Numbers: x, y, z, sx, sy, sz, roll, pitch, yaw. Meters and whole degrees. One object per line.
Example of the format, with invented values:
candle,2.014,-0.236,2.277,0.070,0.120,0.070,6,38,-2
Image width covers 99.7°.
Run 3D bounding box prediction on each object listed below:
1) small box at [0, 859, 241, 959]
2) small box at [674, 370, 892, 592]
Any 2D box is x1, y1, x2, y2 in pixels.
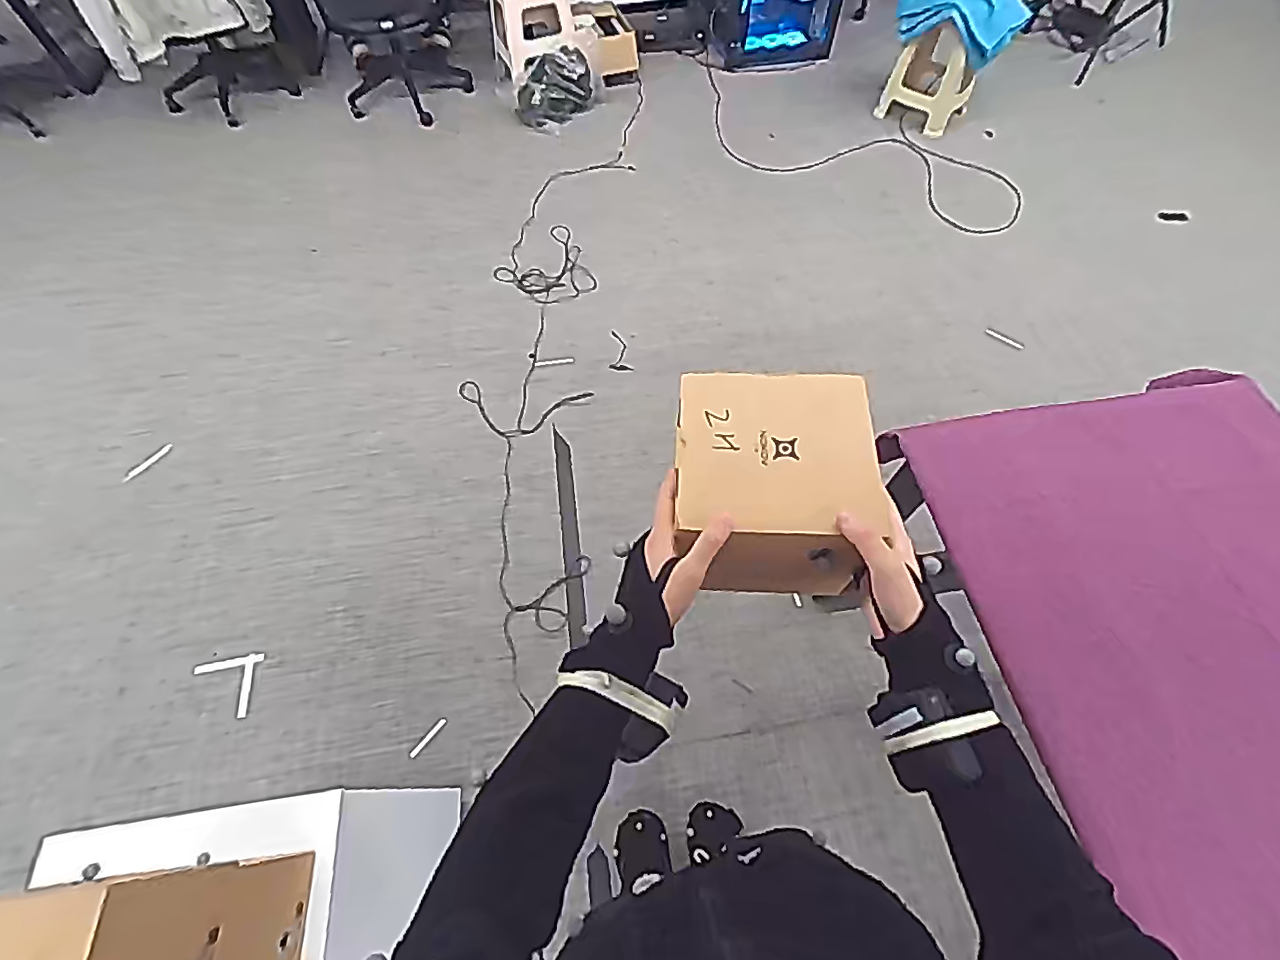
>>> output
small box,-0.502,0.444,0.467,0.179,0.176,0.168,-5,61,-3
small box,0.125,0.009,0.543,0.179,0.176,0.168,1,62,5
